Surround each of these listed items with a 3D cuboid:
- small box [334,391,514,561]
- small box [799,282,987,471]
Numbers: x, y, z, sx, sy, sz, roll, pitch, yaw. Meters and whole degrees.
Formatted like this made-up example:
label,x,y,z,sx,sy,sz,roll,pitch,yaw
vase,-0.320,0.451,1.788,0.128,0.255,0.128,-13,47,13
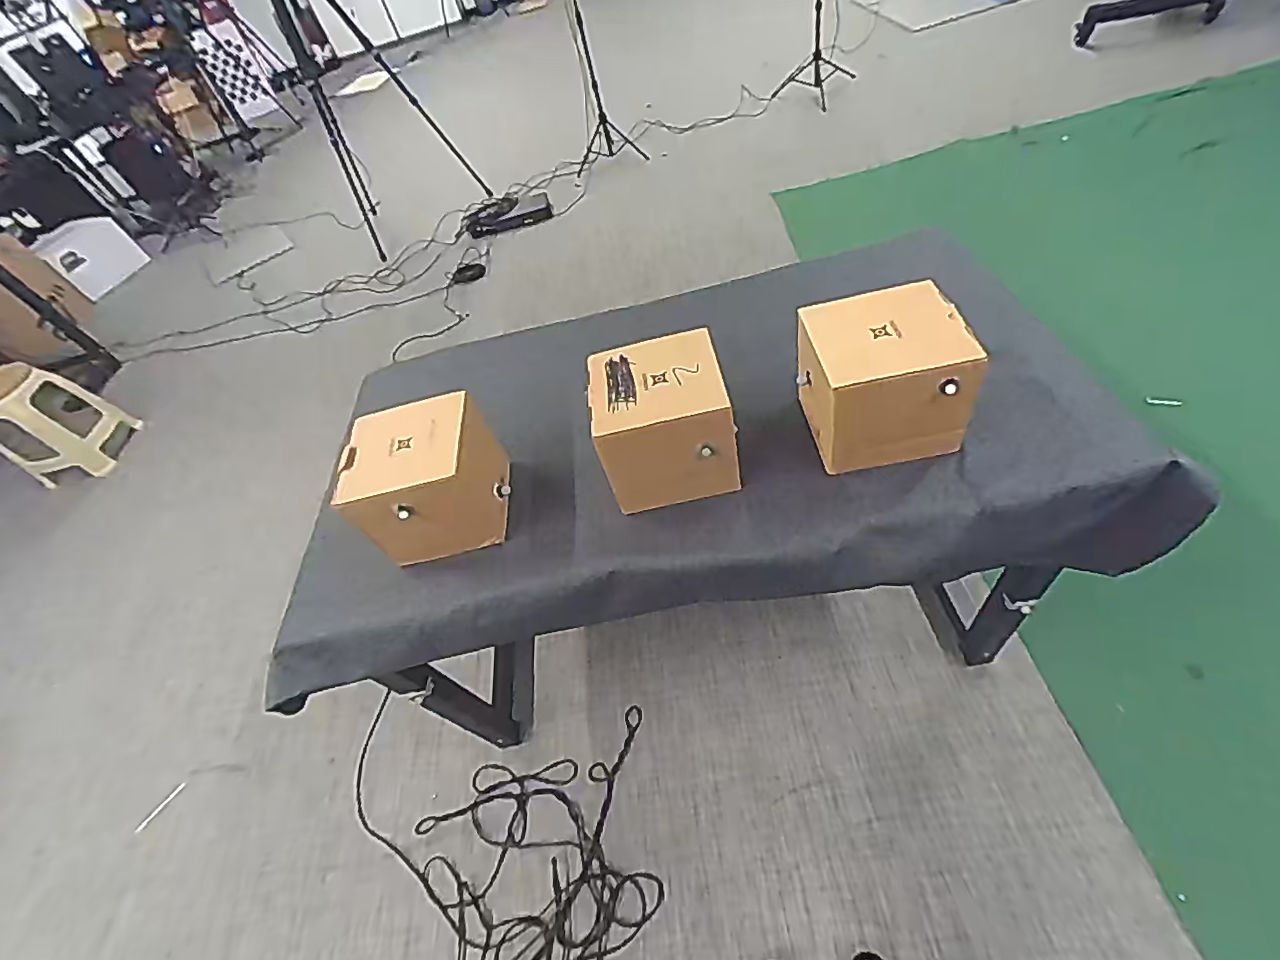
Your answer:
label,x,y,z,sx,sy,sz,roll,pitch,yaw
small box,-0.304,0.001,0.800,0.179,0.176,0.168,-13,51,4
small box,0.320,-0.131,0.725,0.179,0.176,0.168,-11,50,8
